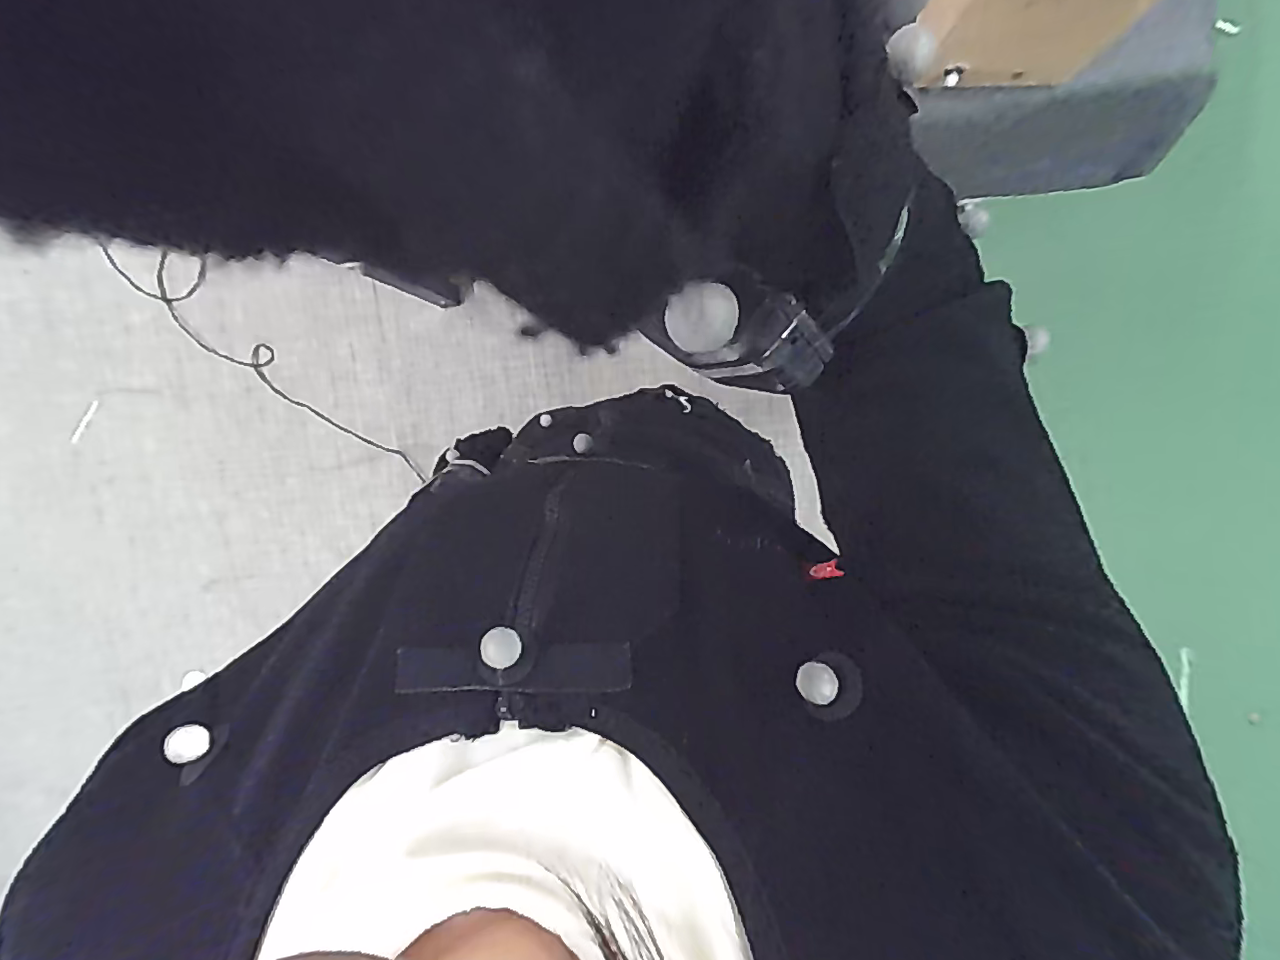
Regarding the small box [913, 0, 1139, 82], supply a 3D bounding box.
[{"bbox_3d":[0.384,-0.520,0.520,0.168,0.176,0.179,3,97,4],"label":"small box"}]
